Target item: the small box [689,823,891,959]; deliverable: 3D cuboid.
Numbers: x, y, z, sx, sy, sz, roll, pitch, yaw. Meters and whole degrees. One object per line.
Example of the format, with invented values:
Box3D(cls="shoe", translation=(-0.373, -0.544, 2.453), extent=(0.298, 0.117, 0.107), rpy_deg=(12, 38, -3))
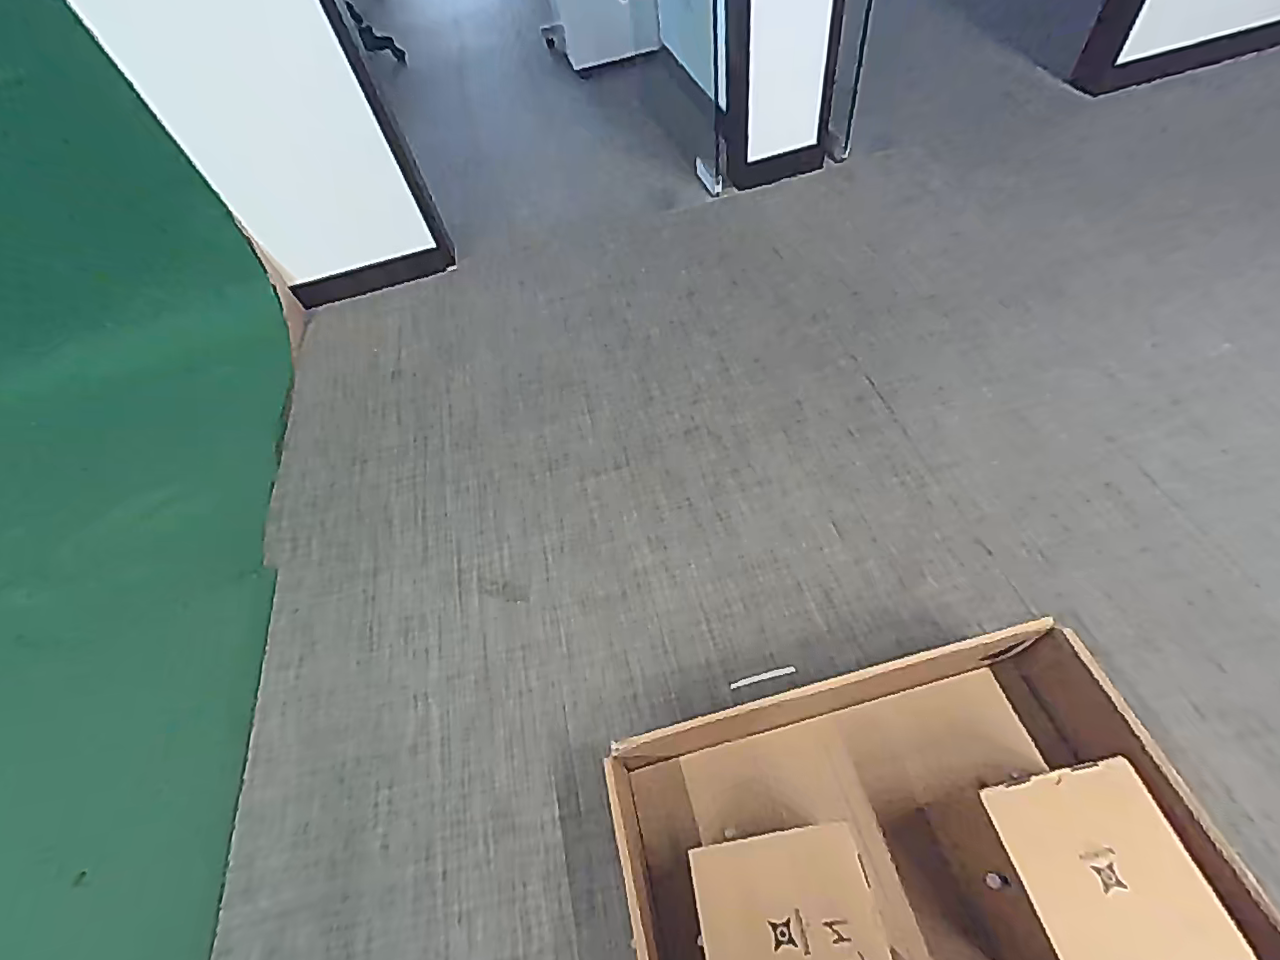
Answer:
Box3D(cls="small box", translation=(0.161, 0.491, 0.586), extent=(0.179, 0.176, 0.168), rpy_deg=(-12, 51, 4))
